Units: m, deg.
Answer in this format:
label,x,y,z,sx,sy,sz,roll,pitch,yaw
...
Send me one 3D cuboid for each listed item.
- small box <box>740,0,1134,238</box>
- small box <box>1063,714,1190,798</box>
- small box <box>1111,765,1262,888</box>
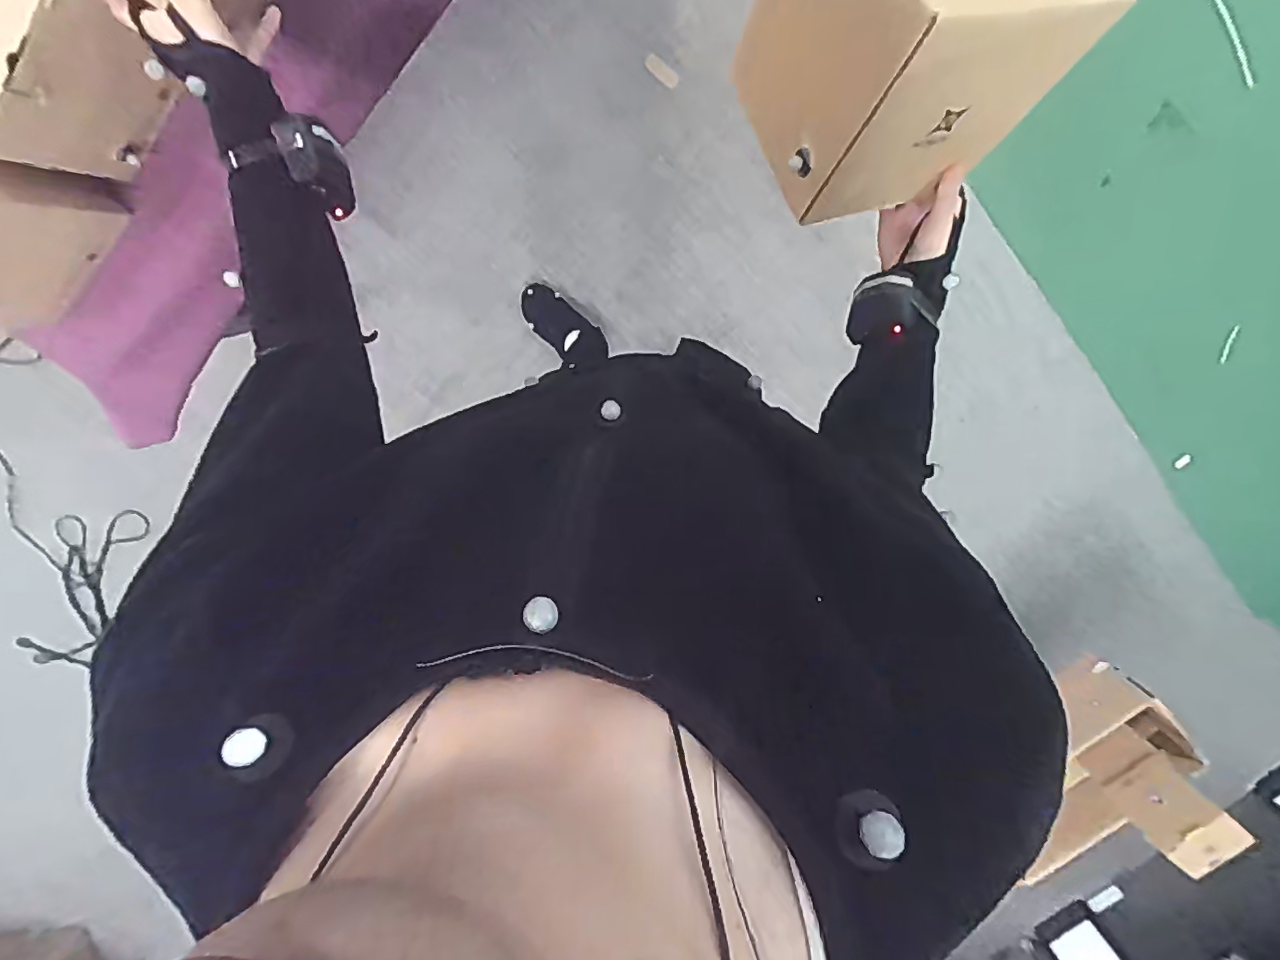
label,x,y,z,sx,sy,sz,roll,pitch,yaw
small box,0.199,-0.328,0.417,0.168,0.179,0.176,-17,80,-14
small box,1.329,0.783,1.482,0.179,0.176,0.168,38,103,-17
small box,1.328,0.840,1.328,0.179,0.176,0.168,38,104,-17
